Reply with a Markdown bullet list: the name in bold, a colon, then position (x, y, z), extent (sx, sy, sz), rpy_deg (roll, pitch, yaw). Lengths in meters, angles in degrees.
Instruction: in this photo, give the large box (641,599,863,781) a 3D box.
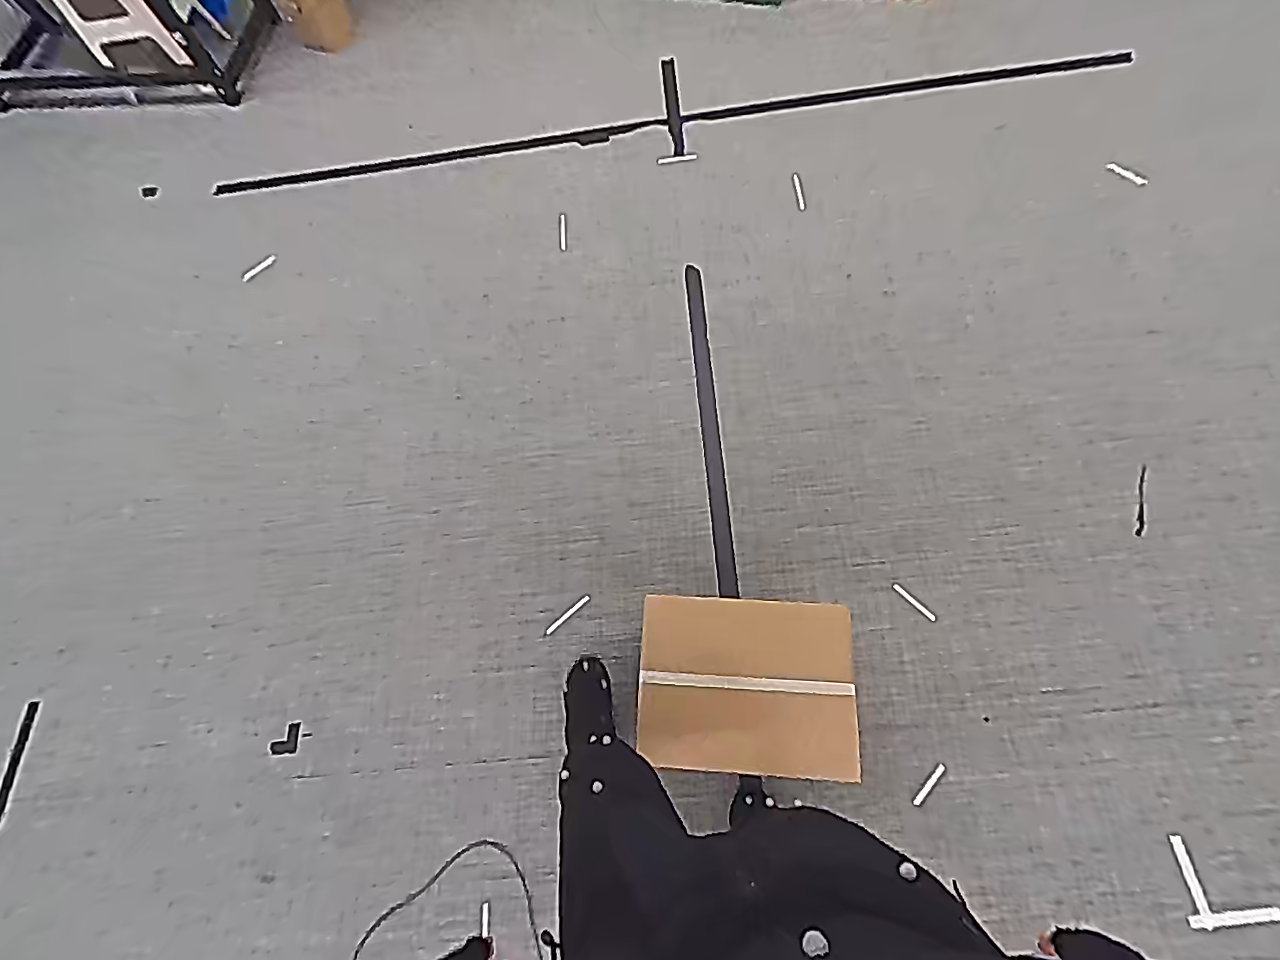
- **large box**: position (0.218, 0.436, 1.165), extent (0.408, 0.320, 0.320), rpy_deg (2, 70, 5)
